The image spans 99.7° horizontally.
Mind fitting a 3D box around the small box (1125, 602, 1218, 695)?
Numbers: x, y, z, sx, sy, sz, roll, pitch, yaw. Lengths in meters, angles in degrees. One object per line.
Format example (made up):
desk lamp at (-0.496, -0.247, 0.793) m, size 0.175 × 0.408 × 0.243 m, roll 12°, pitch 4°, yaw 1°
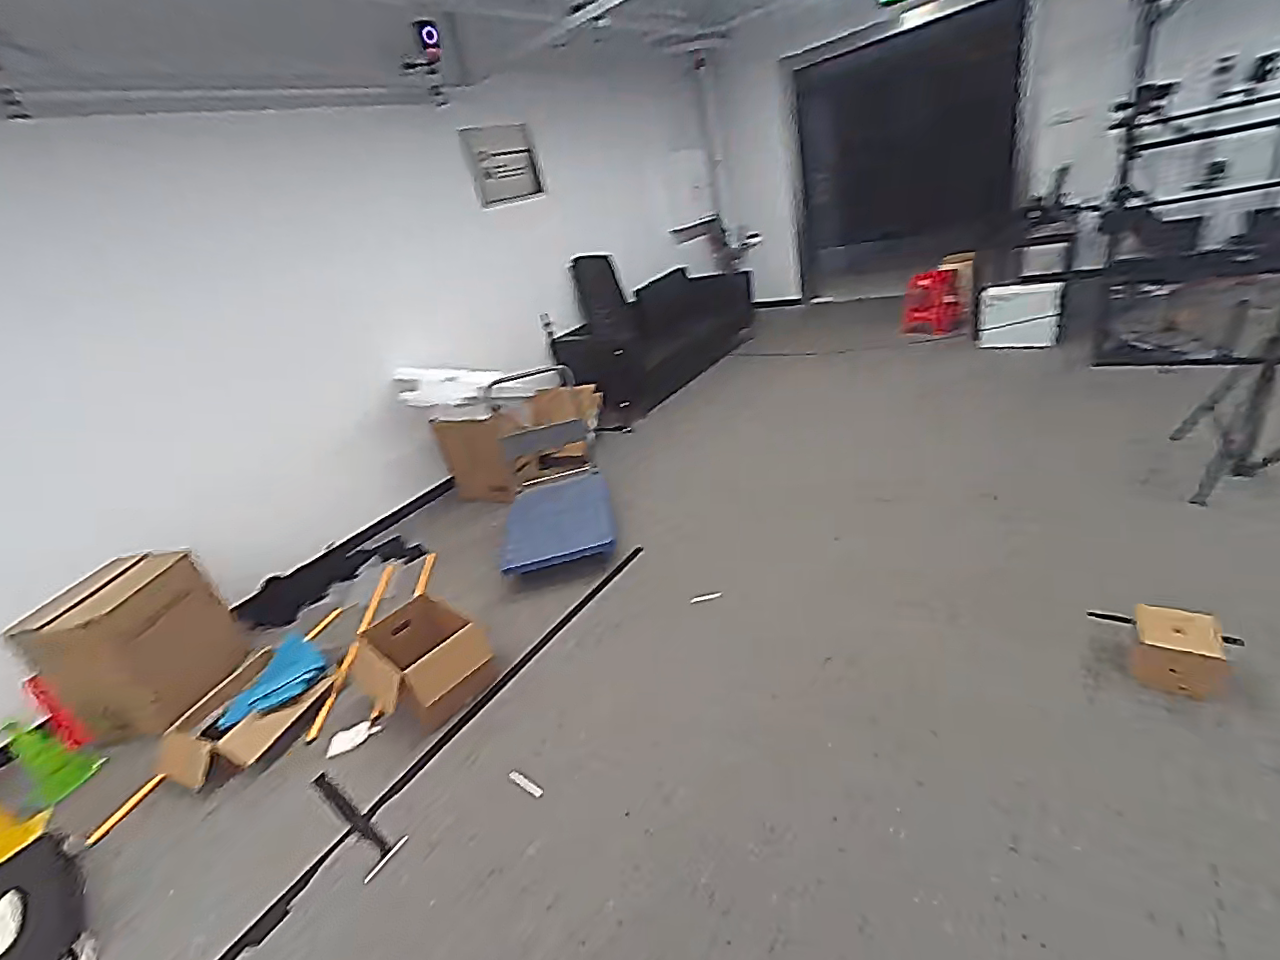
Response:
small box at (1.549, 0.493, 1.584) m, size 0.168 × 0.176 × 0.179 m, roll 6°, pitch 33°, yaw 35°
